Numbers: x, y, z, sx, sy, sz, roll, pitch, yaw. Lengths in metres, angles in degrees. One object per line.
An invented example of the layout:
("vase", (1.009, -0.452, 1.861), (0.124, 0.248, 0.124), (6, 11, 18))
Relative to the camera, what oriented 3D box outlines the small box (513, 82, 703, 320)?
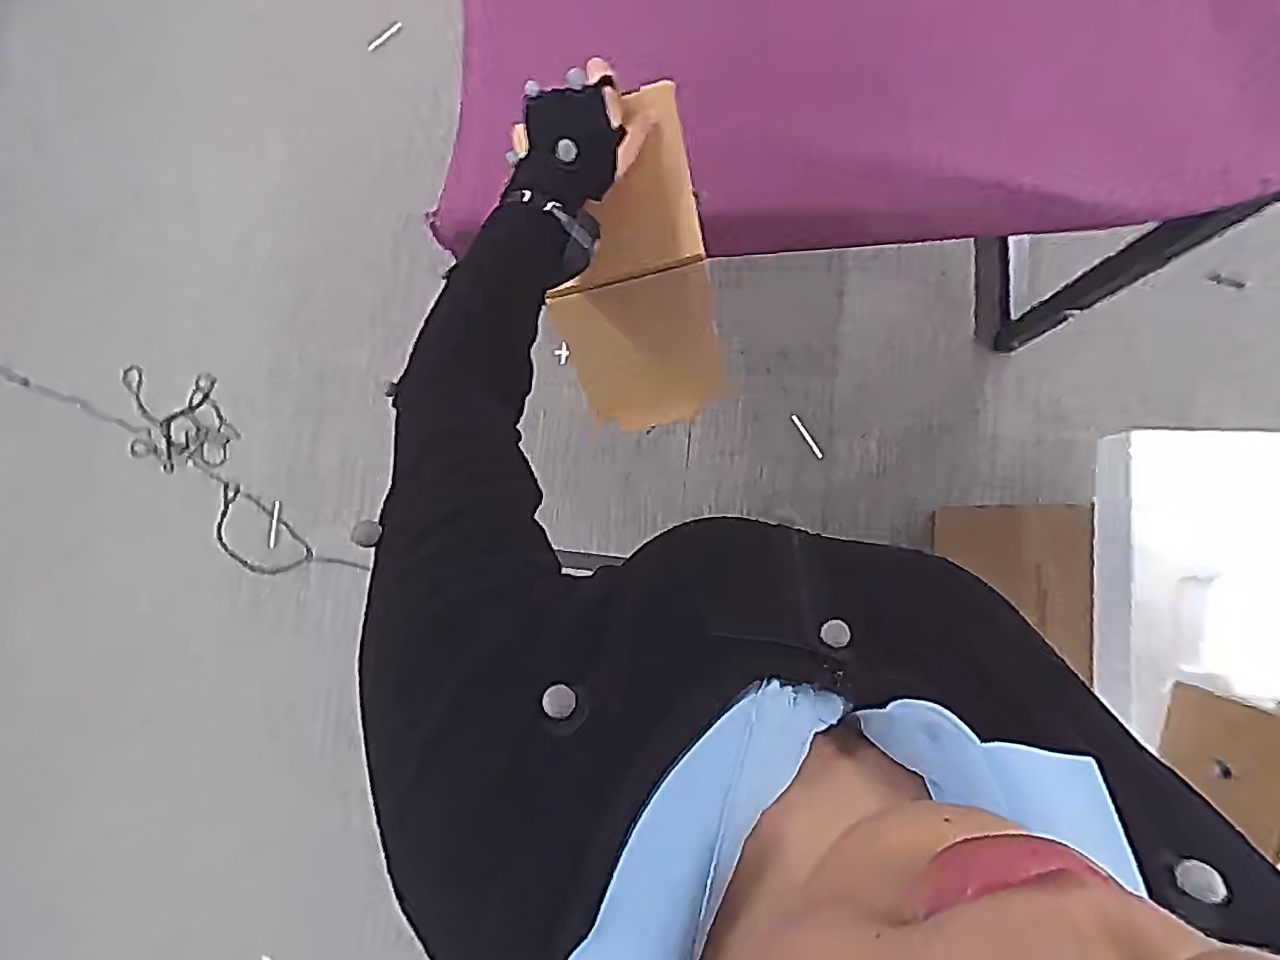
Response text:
("small box", (-0.022, -0.289, 0.610), (0.168, 0.176, 0.179), (-10, 94, 8))
